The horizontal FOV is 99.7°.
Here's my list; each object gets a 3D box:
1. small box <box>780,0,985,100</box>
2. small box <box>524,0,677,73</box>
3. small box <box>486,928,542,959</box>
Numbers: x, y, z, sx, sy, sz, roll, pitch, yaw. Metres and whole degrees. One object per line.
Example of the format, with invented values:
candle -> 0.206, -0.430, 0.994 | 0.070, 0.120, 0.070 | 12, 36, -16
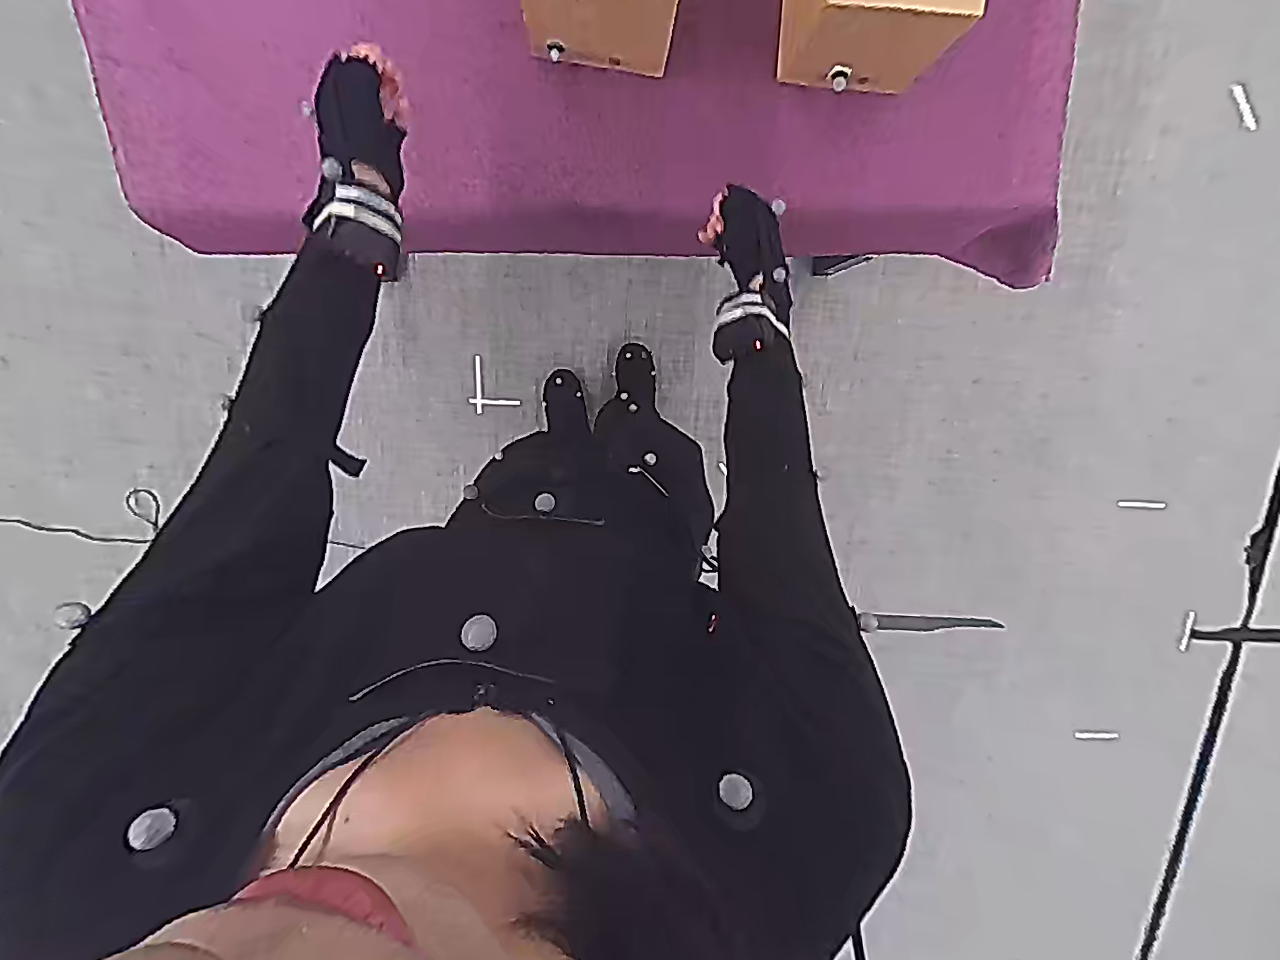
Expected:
small box -> 0.266, -0.569, 0.606 | 0.168, 0.176, 0.179 | 2, 102, -3
small box -> -0.035, -0.582, 0.579 | 0.168, 0.176, 0.179 | 6, 100, -6
small box -> -0.422, 1.608, 1.742 | 0.168, 0.176, 0.179 | 17, 100, -8
